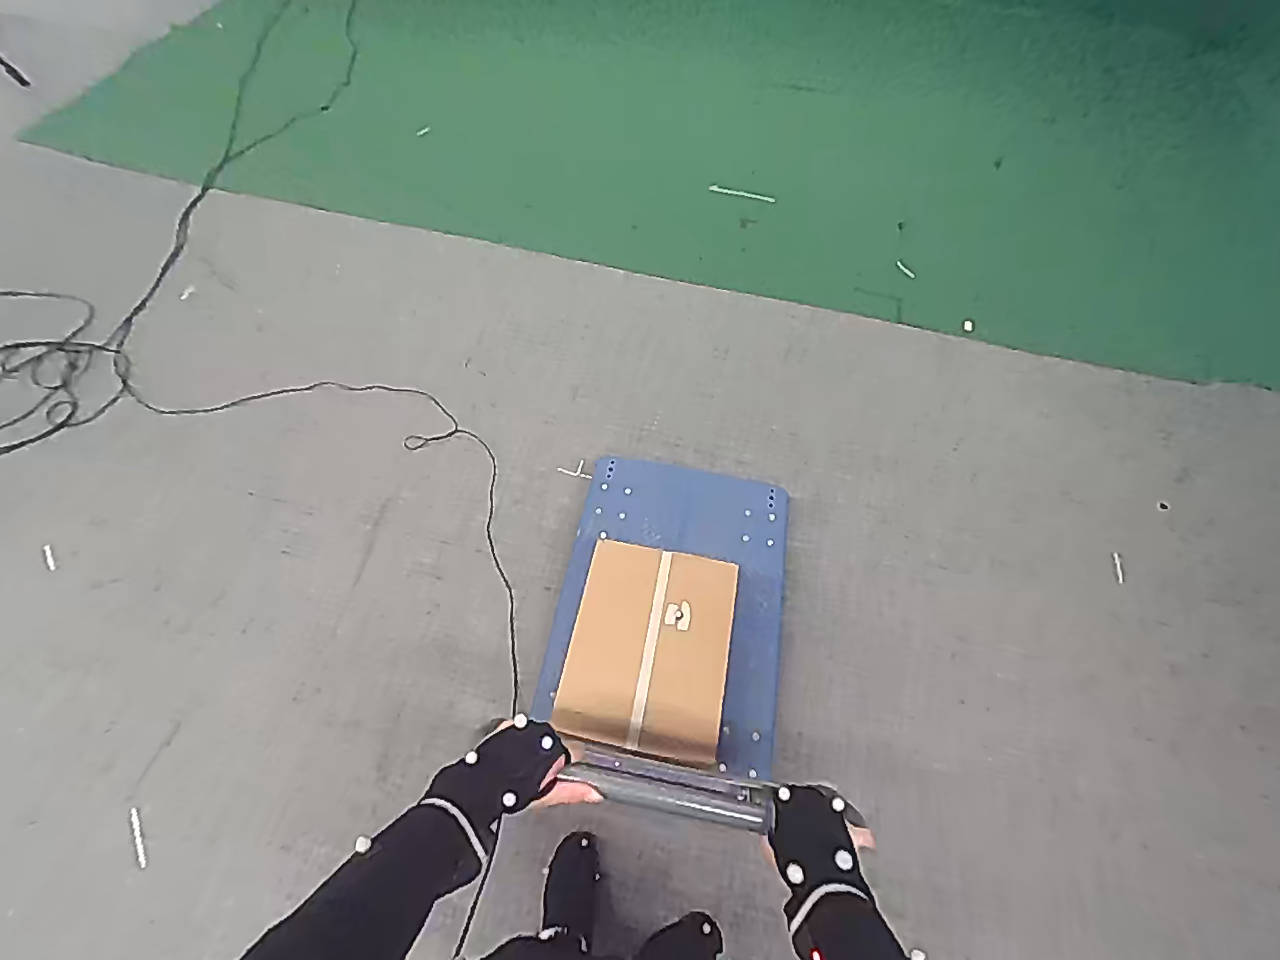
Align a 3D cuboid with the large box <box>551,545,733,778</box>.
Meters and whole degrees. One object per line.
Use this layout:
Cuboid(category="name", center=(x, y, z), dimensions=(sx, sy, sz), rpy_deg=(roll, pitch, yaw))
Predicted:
Cuboid(category="large box", center=(0.014, 0.411, 1.207), dimensions=(0.320, 0.320, 0.408), rpy_deg=(11, 60, 4))
